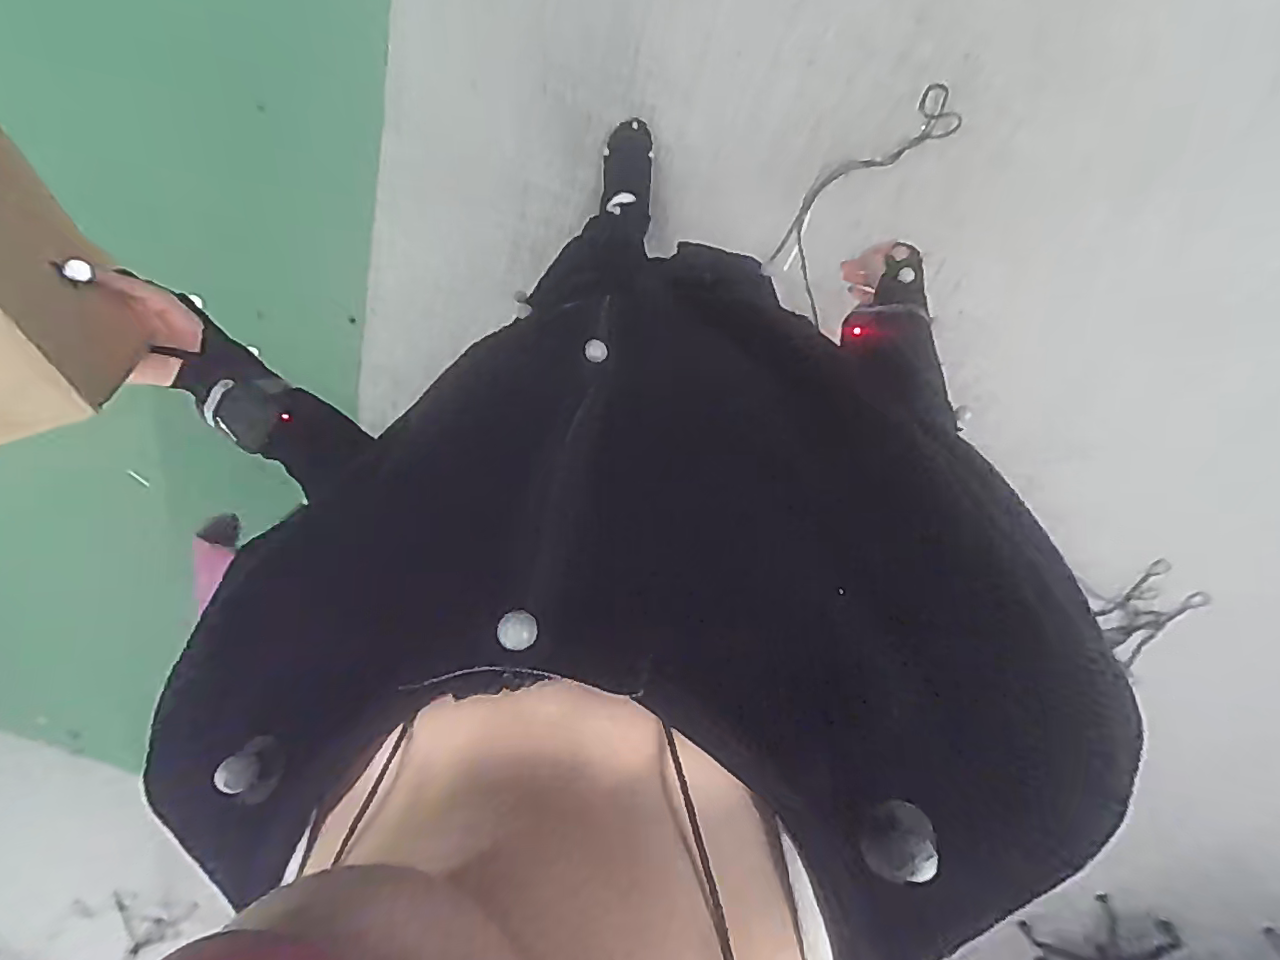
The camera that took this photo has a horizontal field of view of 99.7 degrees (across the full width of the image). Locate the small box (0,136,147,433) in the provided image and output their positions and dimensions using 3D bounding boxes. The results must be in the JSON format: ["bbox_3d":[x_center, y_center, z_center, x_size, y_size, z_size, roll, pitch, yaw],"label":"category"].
[{"bbox_3d":[-0.467,-0.125,0.330,0.168,0.179,0.176,-24,132,-15],"label":"small box"}]
